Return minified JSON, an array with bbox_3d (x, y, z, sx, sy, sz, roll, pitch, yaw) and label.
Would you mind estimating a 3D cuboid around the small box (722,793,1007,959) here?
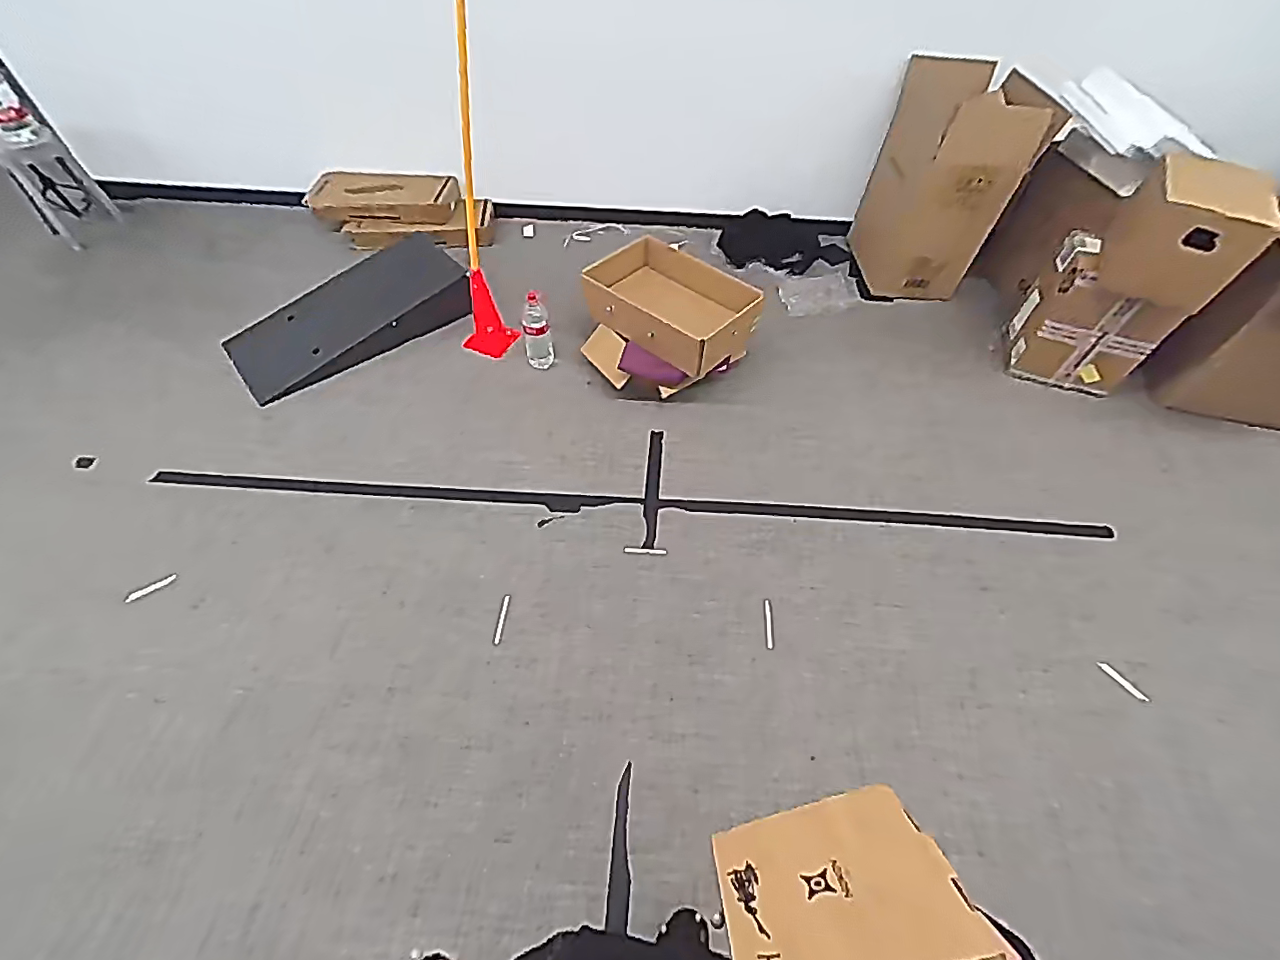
[{"bbox_3d":[0.183,0.407,0.446,0.179,0.168,0.176,-17,94,1],"label":"small box"}]
